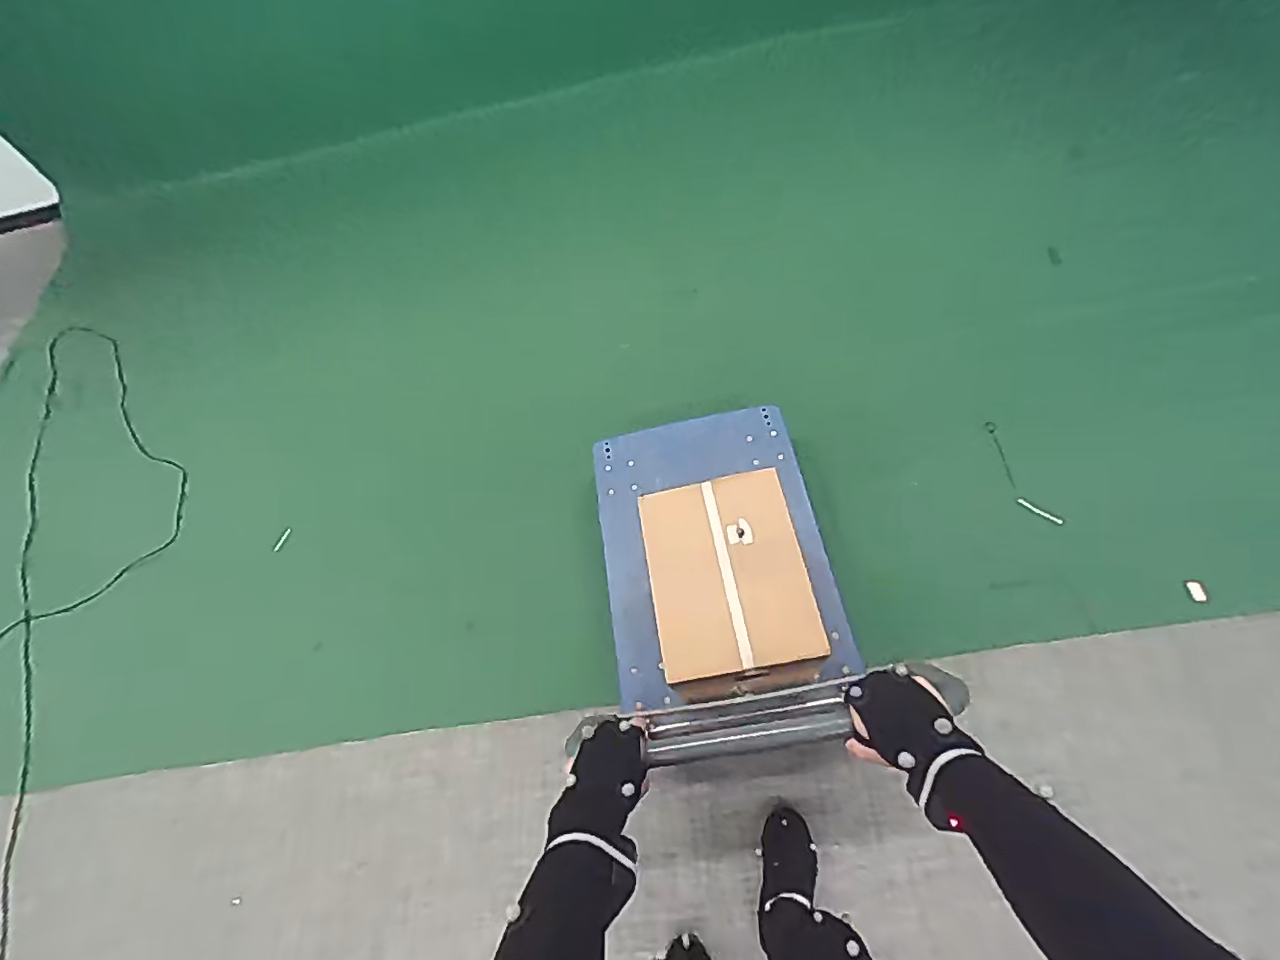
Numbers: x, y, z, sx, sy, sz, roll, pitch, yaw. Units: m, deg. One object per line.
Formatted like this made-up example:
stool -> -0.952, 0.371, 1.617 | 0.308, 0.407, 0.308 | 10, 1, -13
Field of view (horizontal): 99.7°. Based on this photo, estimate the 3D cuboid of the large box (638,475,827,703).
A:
large box -> 0.200, 0.260, 1.241 | 0.320, 0.320, 0.408 | -12, 60, 5
